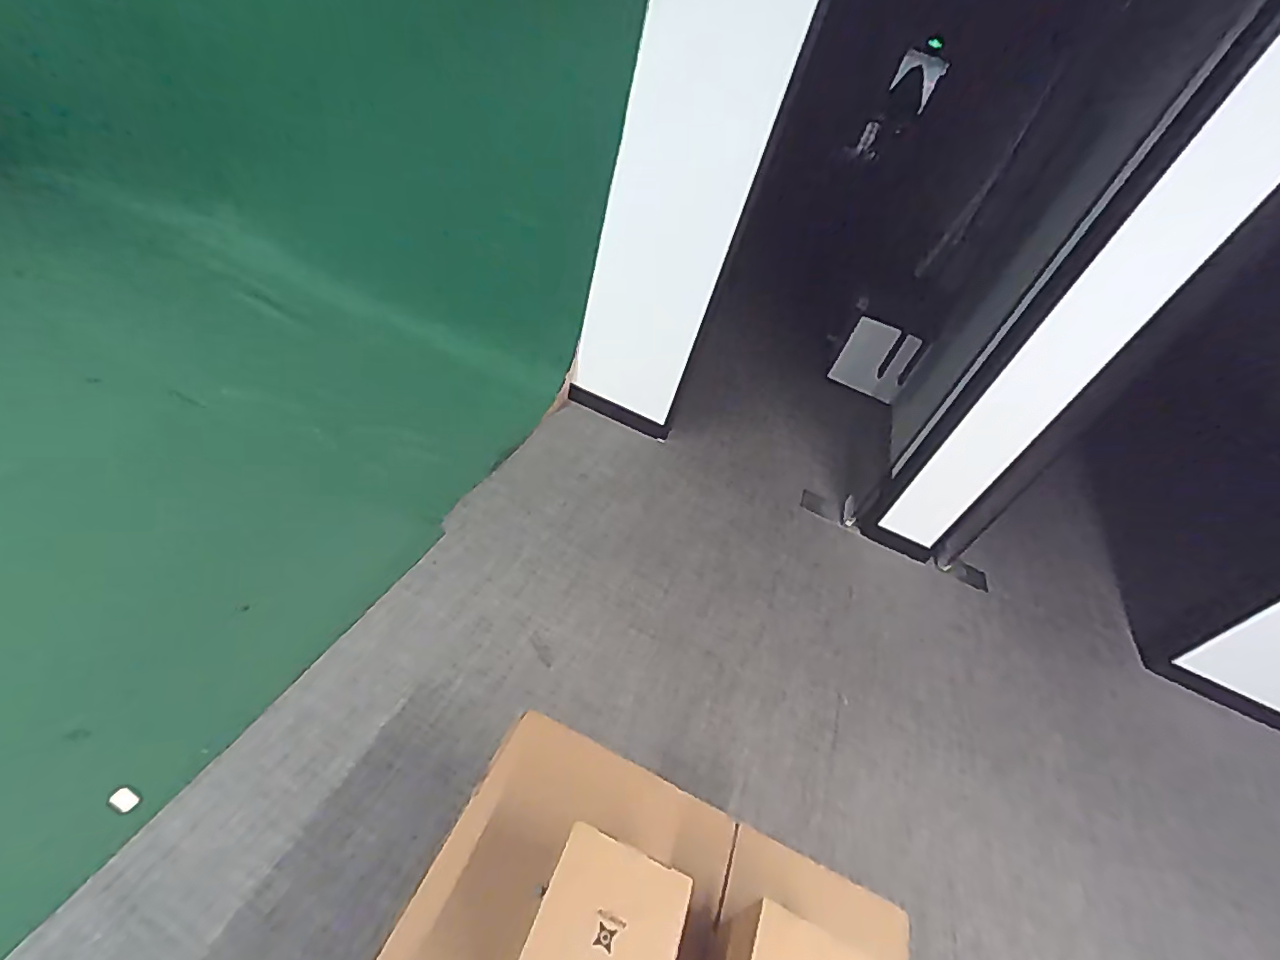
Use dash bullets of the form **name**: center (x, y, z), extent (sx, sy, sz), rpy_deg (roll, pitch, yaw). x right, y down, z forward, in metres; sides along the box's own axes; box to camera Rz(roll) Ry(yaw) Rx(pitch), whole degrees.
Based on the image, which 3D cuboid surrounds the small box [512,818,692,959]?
- **small box**: center (-0.056, 0.568, 0.665), extent (0.168, 0.176, 0.179), rpy_deg (24, 39, 7)
